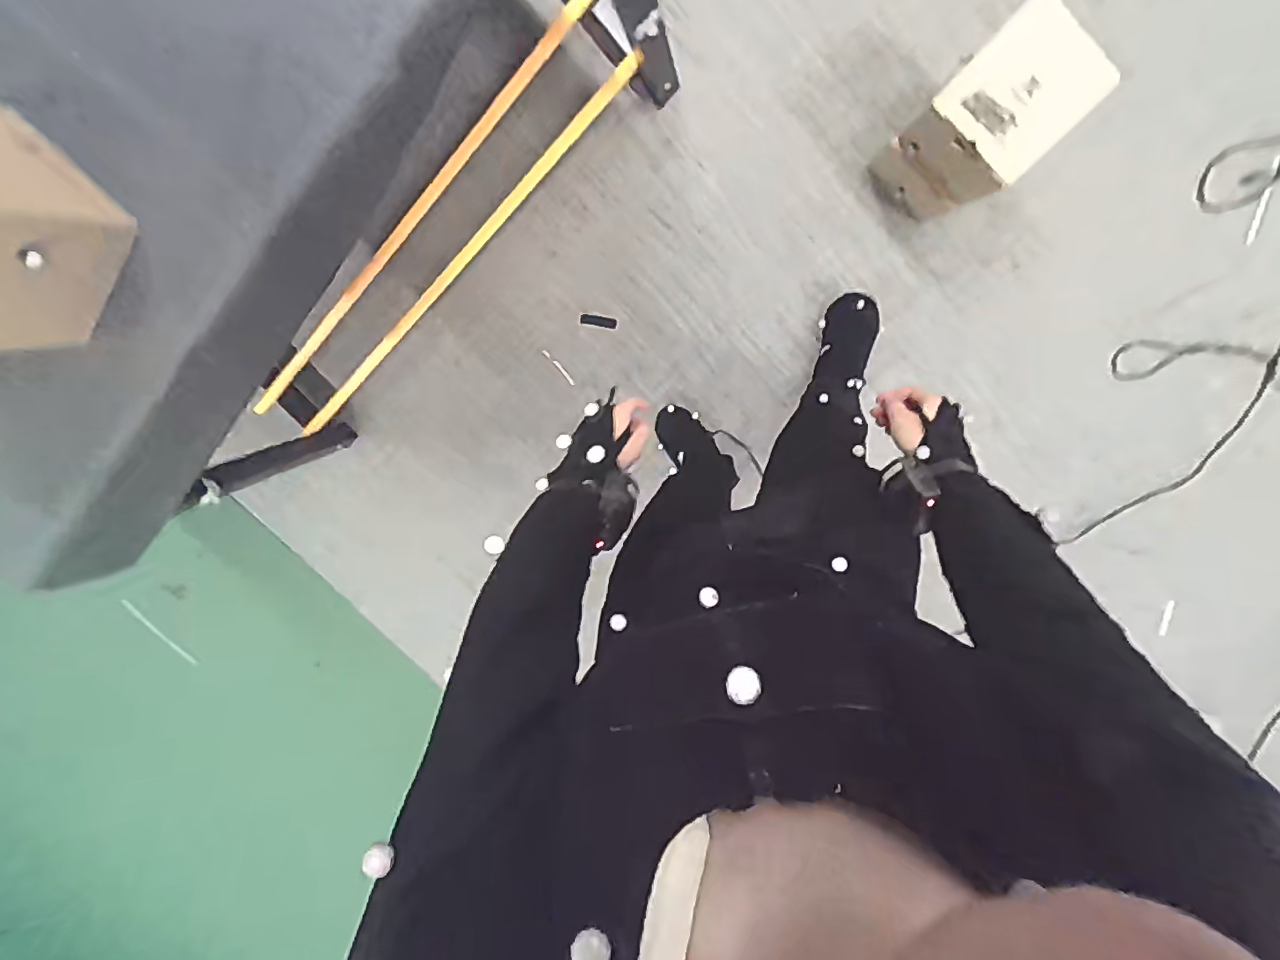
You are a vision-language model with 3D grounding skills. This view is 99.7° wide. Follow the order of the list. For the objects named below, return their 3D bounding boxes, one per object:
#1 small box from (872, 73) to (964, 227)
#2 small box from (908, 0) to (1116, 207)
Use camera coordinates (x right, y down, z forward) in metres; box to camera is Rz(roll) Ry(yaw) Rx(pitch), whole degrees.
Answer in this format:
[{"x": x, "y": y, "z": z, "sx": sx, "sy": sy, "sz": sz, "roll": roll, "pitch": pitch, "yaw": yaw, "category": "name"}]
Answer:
[{"x": 0.555, "y": -0.592, "z": 0.978, "sx": 0.168, "sy": 0.176, "sz": 0.179, "roll": 43, "pitch": 110, "yaw": -5, "category": "small box"}, {"x": 0.539, "y": -0.549, "z": 0.820, "sx": 0.168, "sy": 0.176, "sz": 0.179, "roll": 43, "pitch": 108, "yaw": -6, "category": "small box"}]
